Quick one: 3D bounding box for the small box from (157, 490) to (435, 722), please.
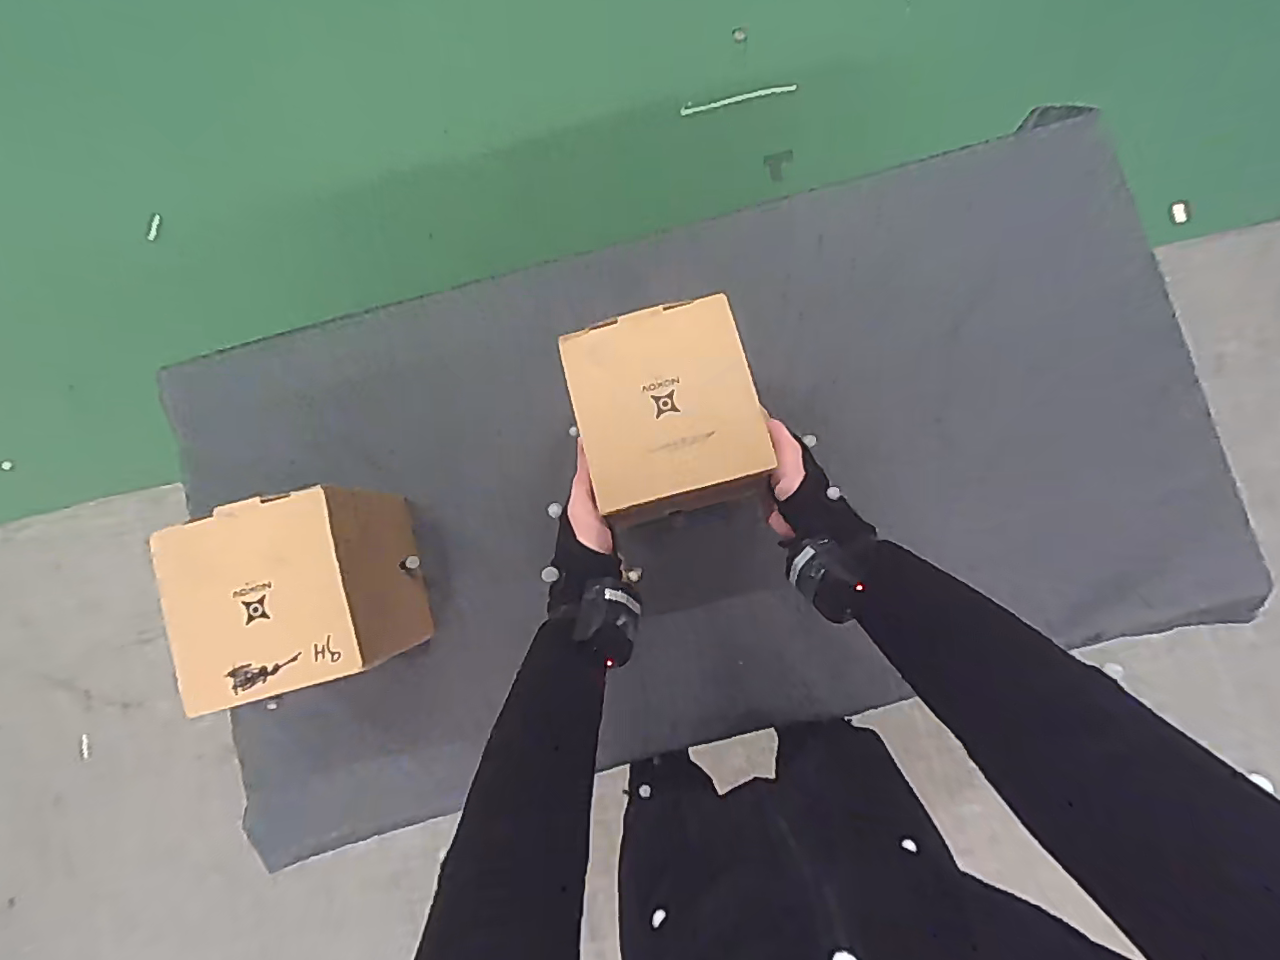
[{"bbox_3d":[-0.340,0.120,0.565,0.168,0.176,0.179,-15,84,1],"label":"small box"}]

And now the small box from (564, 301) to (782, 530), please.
[{"bbox_3d":[0.030,-0.053,0.568,0.168,0.176,0.179,-16,82,1],"label":"small box"}]
